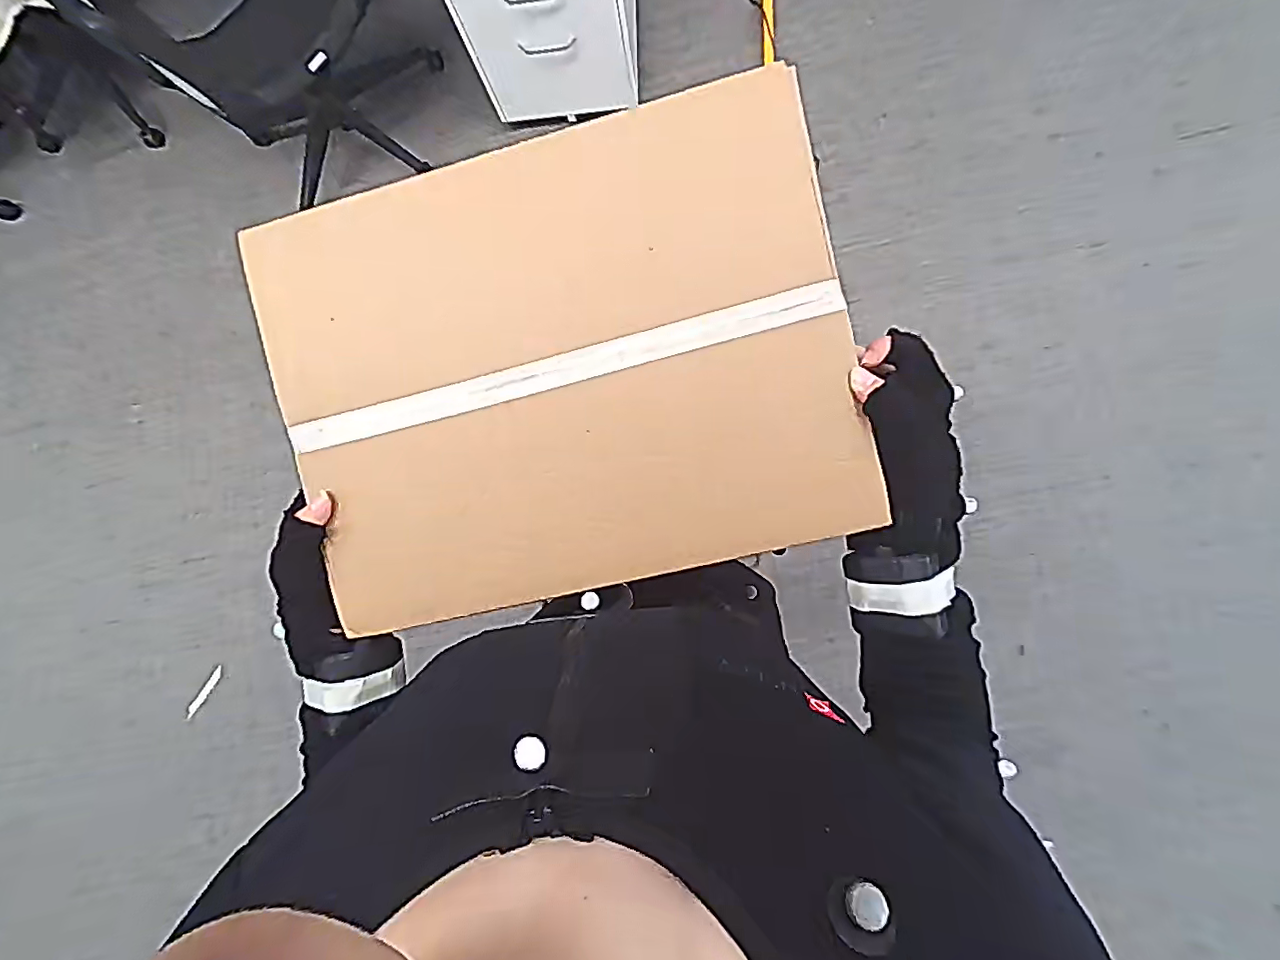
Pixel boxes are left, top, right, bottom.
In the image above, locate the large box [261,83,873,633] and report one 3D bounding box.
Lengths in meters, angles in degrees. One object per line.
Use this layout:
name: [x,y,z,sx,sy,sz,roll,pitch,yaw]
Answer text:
large box: [-0.045,-0.086,0.540,0.408,0.320,0.320,-13,92,7]
